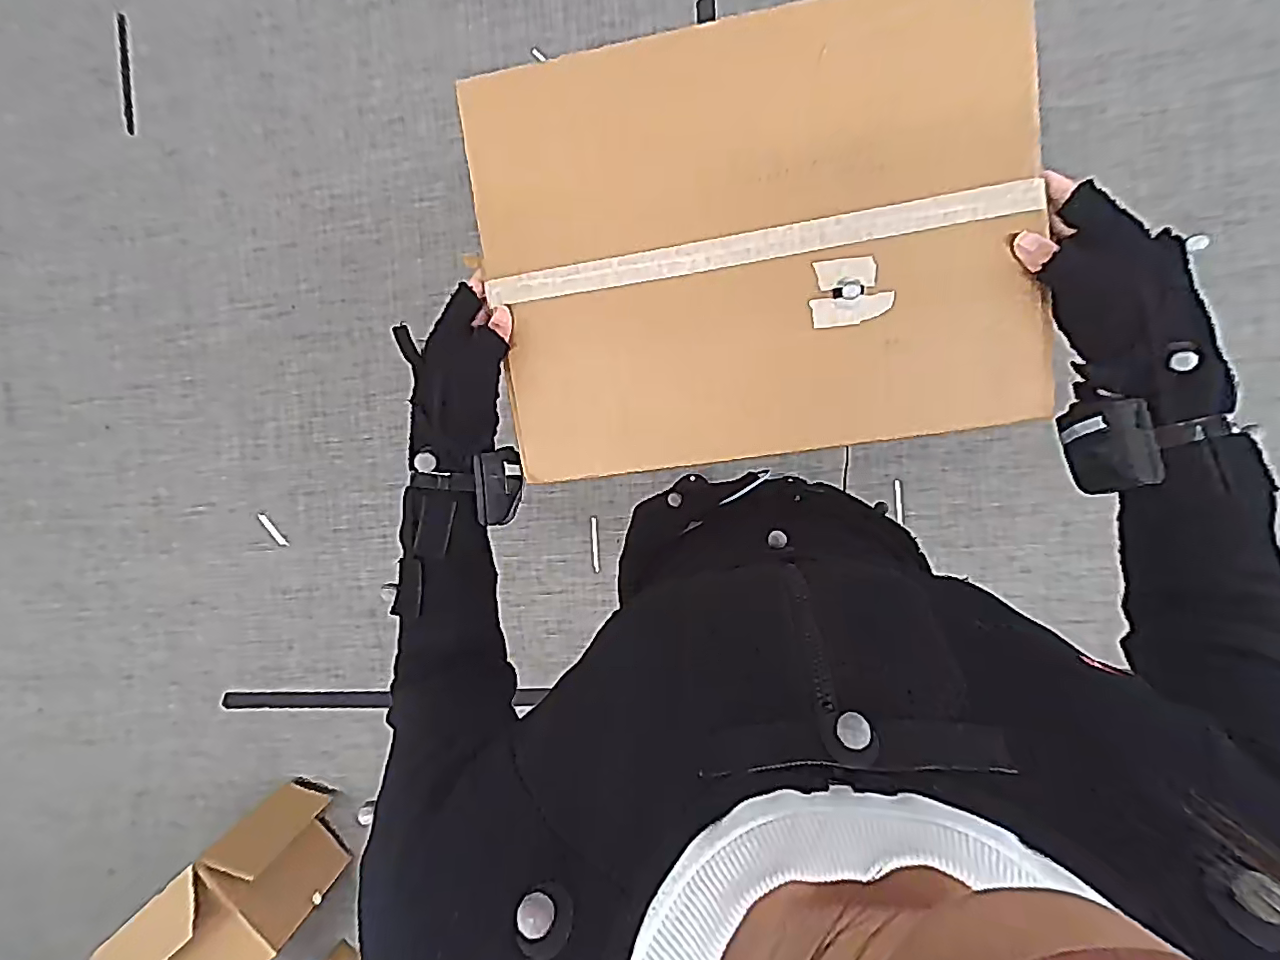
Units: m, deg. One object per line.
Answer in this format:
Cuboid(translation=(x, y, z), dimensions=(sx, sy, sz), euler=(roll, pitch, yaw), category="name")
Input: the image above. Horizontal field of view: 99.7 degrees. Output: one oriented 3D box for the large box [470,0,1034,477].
Cuboid(translation=(0.096, -0.199, 0.563), dimensions=(0.408, 0.320, 0.320), euler=(-8, 98, 6), category="large box")
